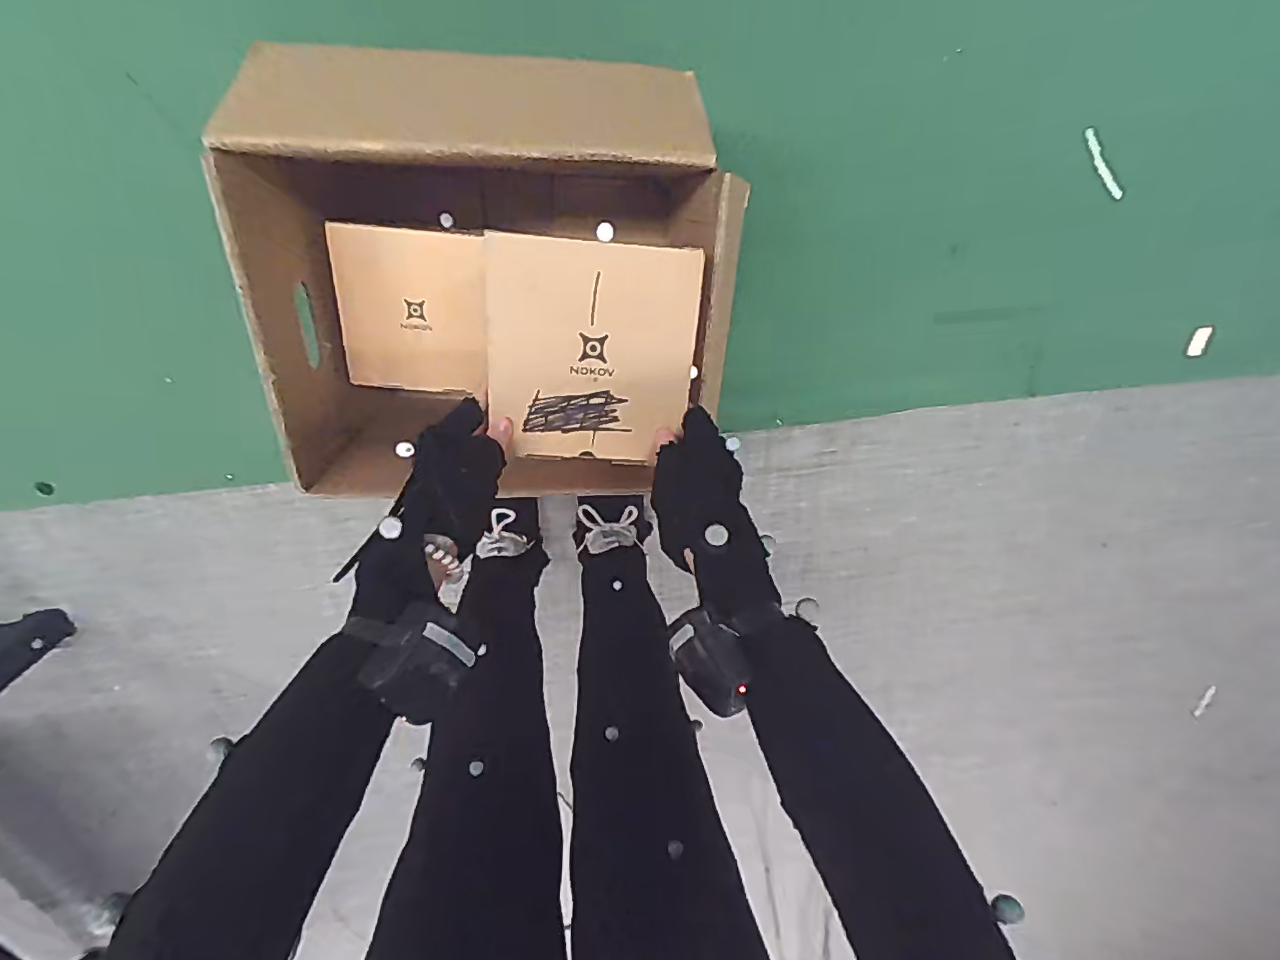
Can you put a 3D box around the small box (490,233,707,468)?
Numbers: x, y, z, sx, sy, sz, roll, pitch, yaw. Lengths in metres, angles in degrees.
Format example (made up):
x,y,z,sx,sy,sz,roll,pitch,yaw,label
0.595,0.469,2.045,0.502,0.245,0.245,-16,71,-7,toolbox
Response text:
x,y,z,sx,sy,sz,roll,pitch,yaw,label
-0.043,-0.126,0.509,0.168,0.176,0.179,4,112,-6,small box
